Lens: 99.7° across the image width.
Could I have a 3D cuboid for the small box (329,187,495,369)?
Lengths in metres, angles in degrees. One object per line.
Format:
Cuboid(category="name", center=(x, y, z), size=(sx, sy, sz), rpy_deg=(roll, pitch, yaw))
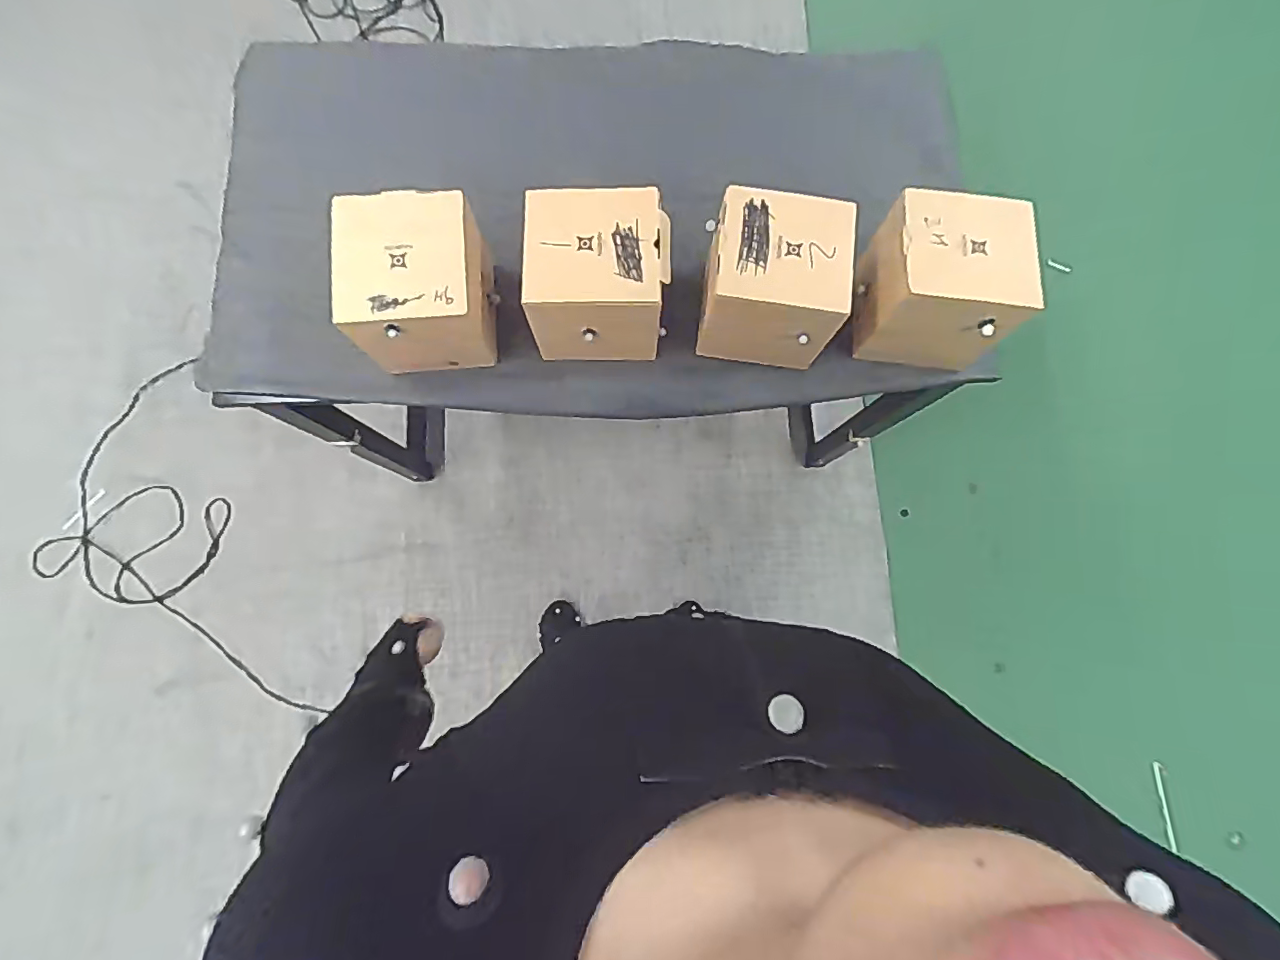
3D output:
Cuboid(category="small box", center=(-0.303, -0.271, 0.751), size=(0.168, 0.176, 0.179), rpy_deg=(-4, 80, -2))
